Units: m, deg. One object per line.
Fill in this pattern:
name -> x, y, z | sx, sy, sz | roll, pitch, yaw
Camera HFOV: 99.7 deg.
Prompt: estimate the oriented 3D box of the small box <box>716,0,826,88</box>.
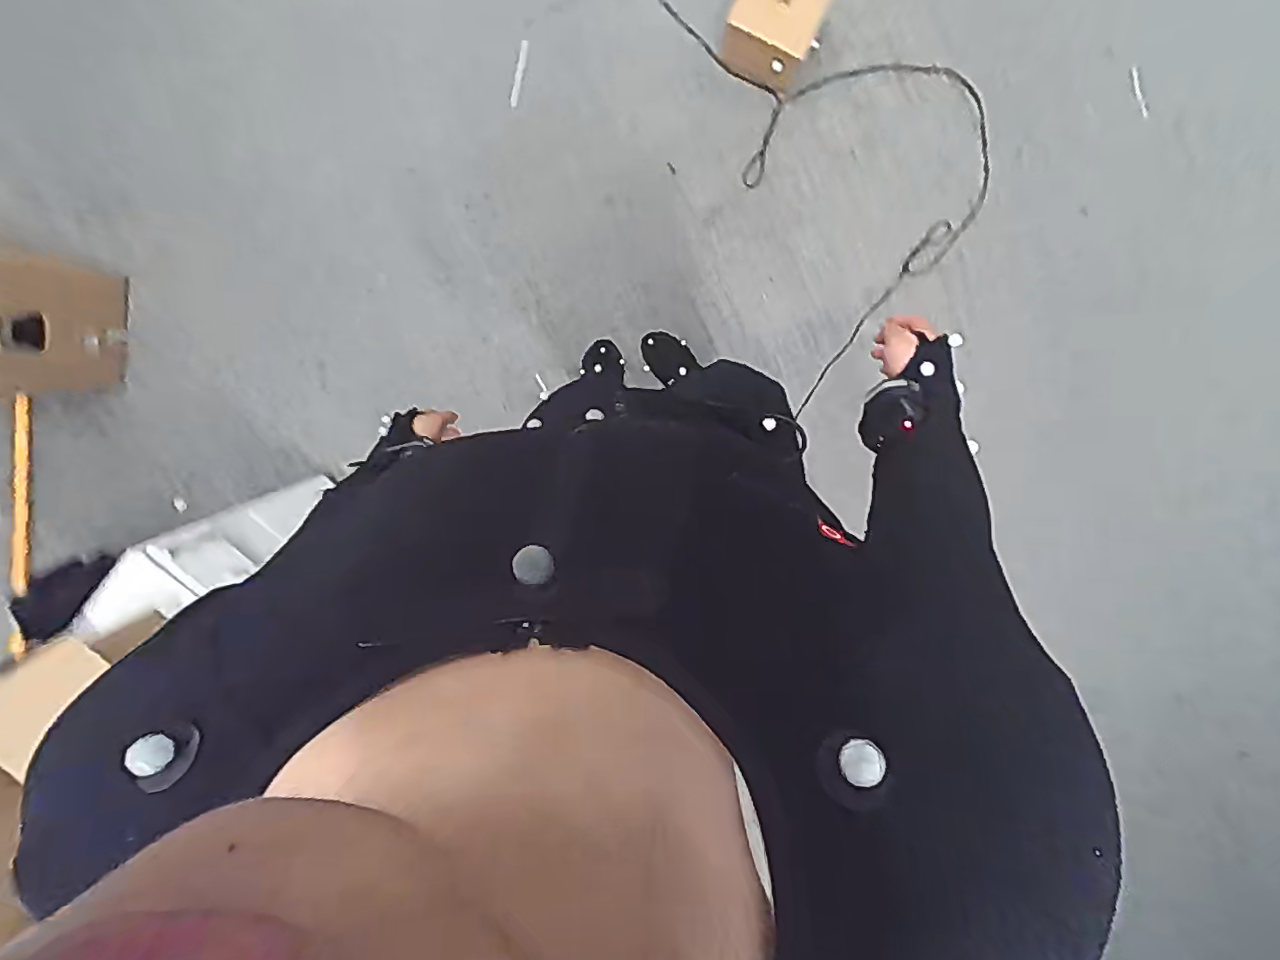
small box -> 0.275, -0.970, 1.135 | 0.179, 0.176, 0.168 | 24, 104, -3
